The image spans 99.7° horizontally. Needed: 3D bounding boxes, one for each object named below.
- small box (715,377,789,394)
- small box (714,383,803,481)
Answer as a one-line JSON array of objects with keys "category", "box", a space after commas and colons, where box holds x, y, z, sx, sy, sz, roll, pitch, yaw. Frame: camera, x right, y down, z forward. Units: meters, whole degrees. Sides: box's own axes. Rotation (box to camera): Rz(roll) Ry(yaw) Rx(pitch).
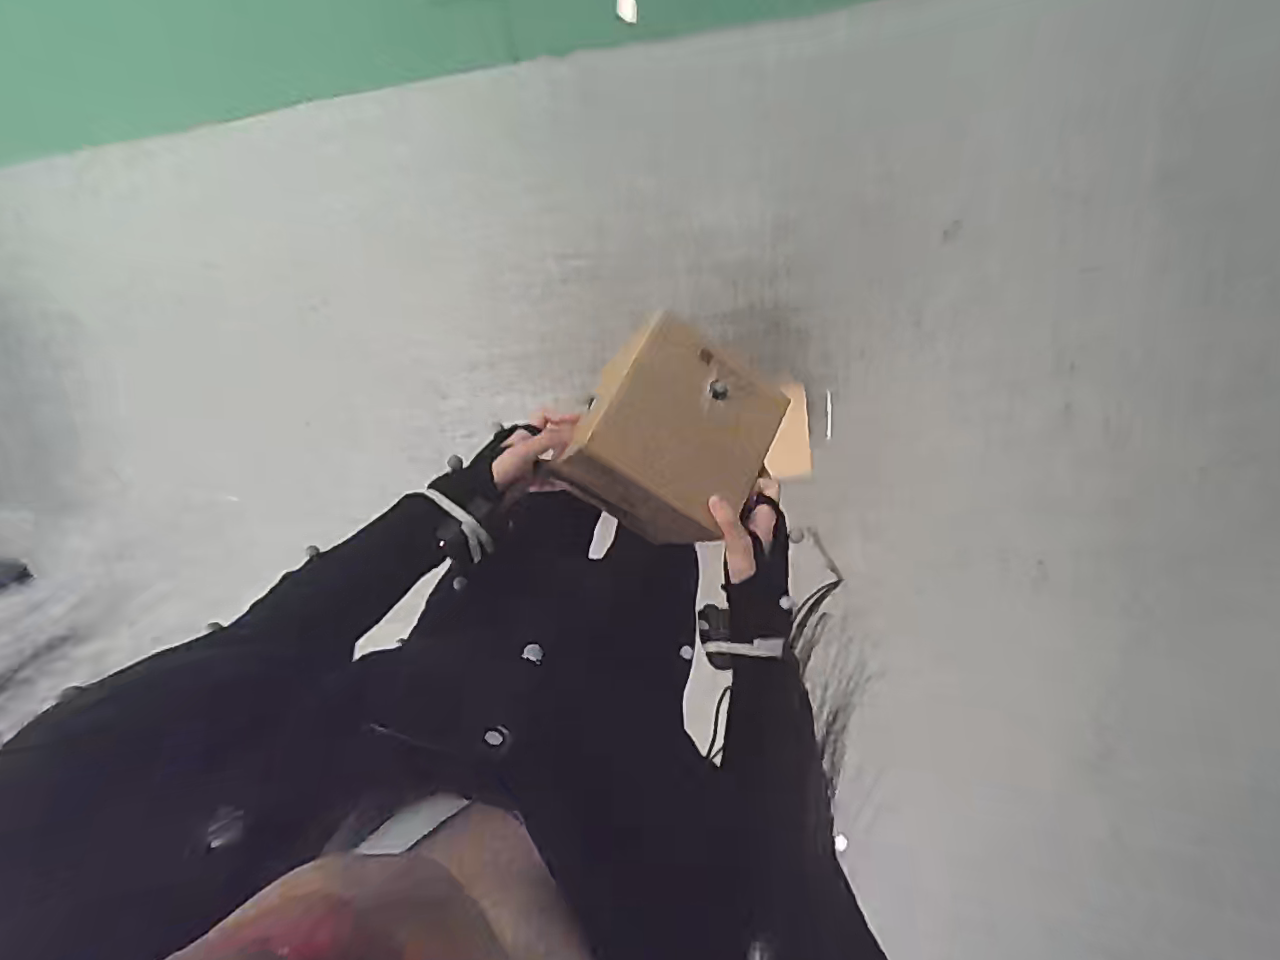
[{"category": "small box", "box": [0.271, -0.148, 1.295, 0.168, 0.176, 0.179, -6, 101, 10]}, {"category": "small box", "box": [0.247, -0.105, 1.137, 0.168, 0.176, 0.179, -5, 101, 9]}]
